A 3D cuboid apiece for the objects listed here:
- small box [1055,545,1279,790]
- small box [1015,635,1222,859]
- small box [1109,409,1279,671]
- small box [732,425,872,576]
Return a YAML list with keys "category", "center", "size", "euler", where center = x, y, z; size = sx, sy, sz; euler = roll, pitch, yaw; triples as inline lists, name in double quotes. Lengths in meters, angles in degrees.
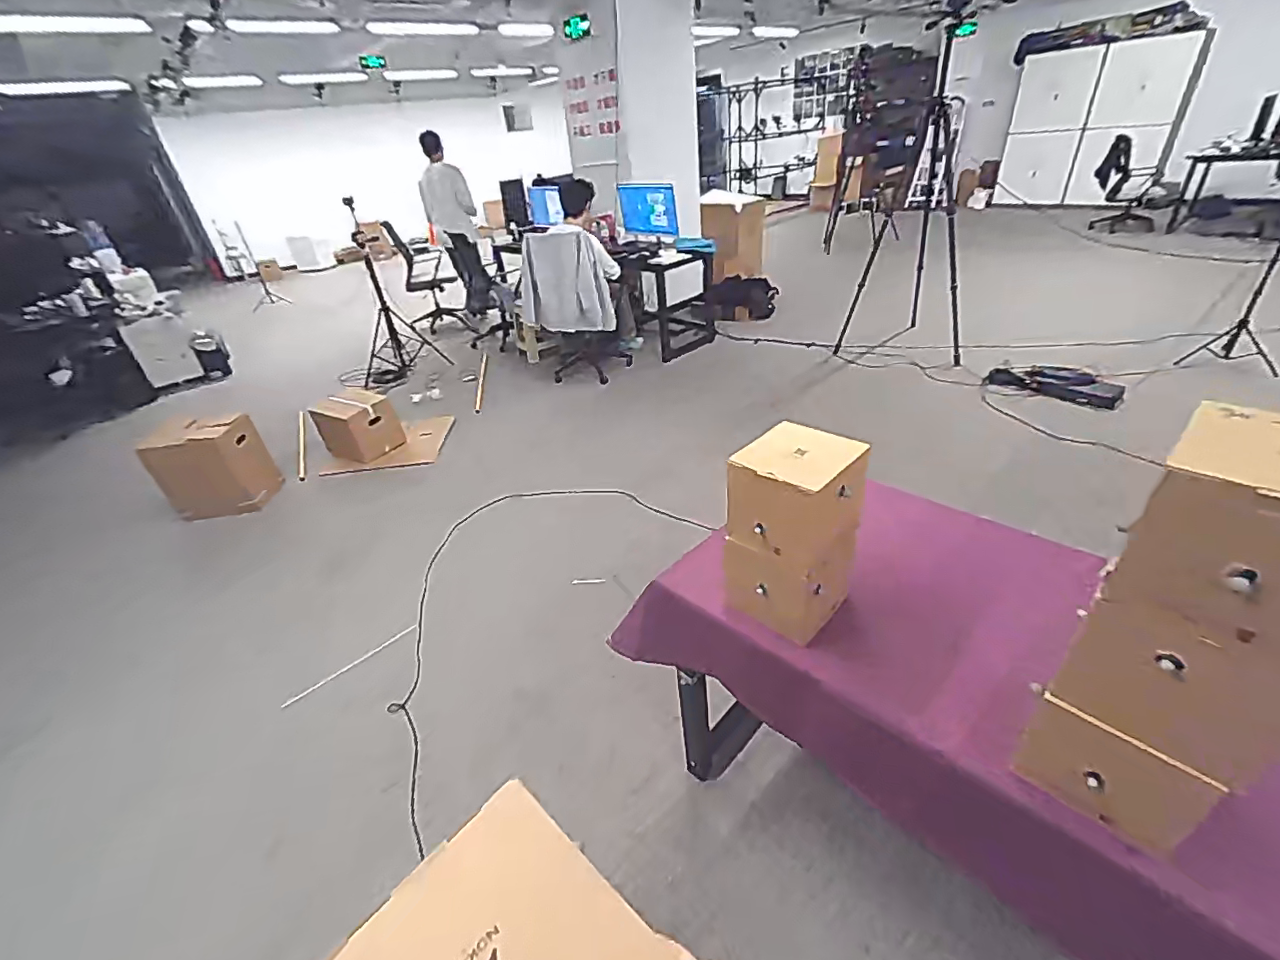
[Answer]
- category: "small box"
  center: [0.611, 0.198, 0.608]
  size: [0.168, 0.176, 0.179]
  euler: [-29, 40, -31]
- category: "small box"
  center: [0.619, 0.334, 0.700]
  size: [0.179, 0.176, 0.168]
  euler: [-29, 39, -32]
- category: "small box"
  center: [0.601, 0.056, 0.526]
  size: [0.179, 0.176, 0.168]
  euler: [-30, 40, -31]
- category: "small box"
  center: [0.271, 0.031, 0.930]
  size: [0.179, 0.176, 0.168]
  euler: [-32, 40, -34]
